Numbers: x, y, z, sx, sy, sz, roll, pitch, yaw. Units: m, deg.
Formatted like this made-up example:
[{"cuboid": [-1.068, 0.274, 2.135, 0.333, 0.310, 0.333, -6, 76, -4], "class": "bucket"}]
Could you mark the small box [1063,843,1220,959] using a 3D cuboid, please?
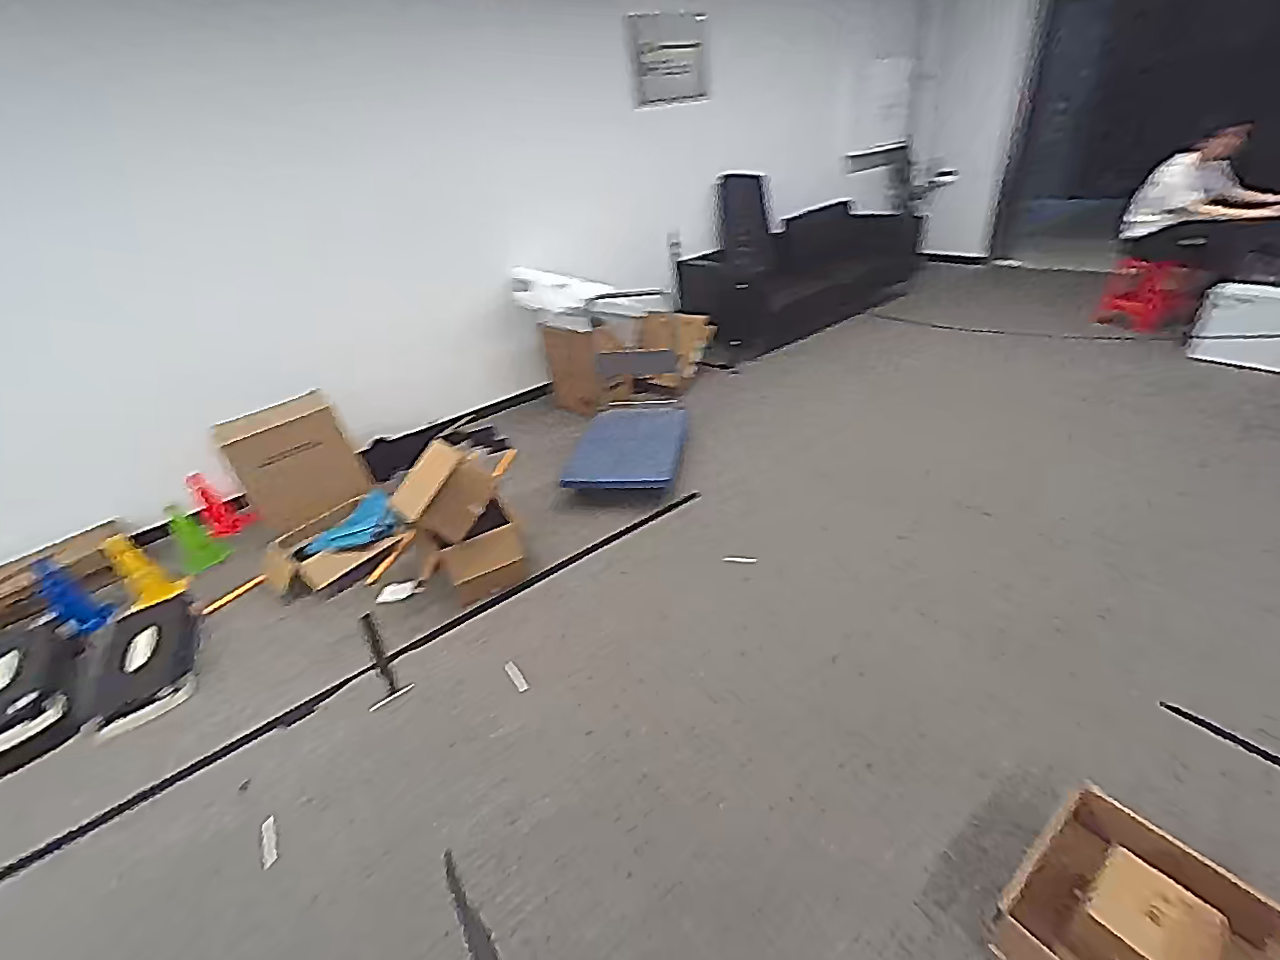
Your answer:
[{"cuboid": [0.965, 0.876, 1.055, 0.179, 0.176, 0.168, -29, 38, -29], "class": "small box"}]

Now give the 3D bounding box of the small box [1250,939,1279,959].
[{"cuboid": [1.110, 0.947, 0.911, 0.179, 0.176, 0.168, -25, 33, -23], "class": "small box"}]
